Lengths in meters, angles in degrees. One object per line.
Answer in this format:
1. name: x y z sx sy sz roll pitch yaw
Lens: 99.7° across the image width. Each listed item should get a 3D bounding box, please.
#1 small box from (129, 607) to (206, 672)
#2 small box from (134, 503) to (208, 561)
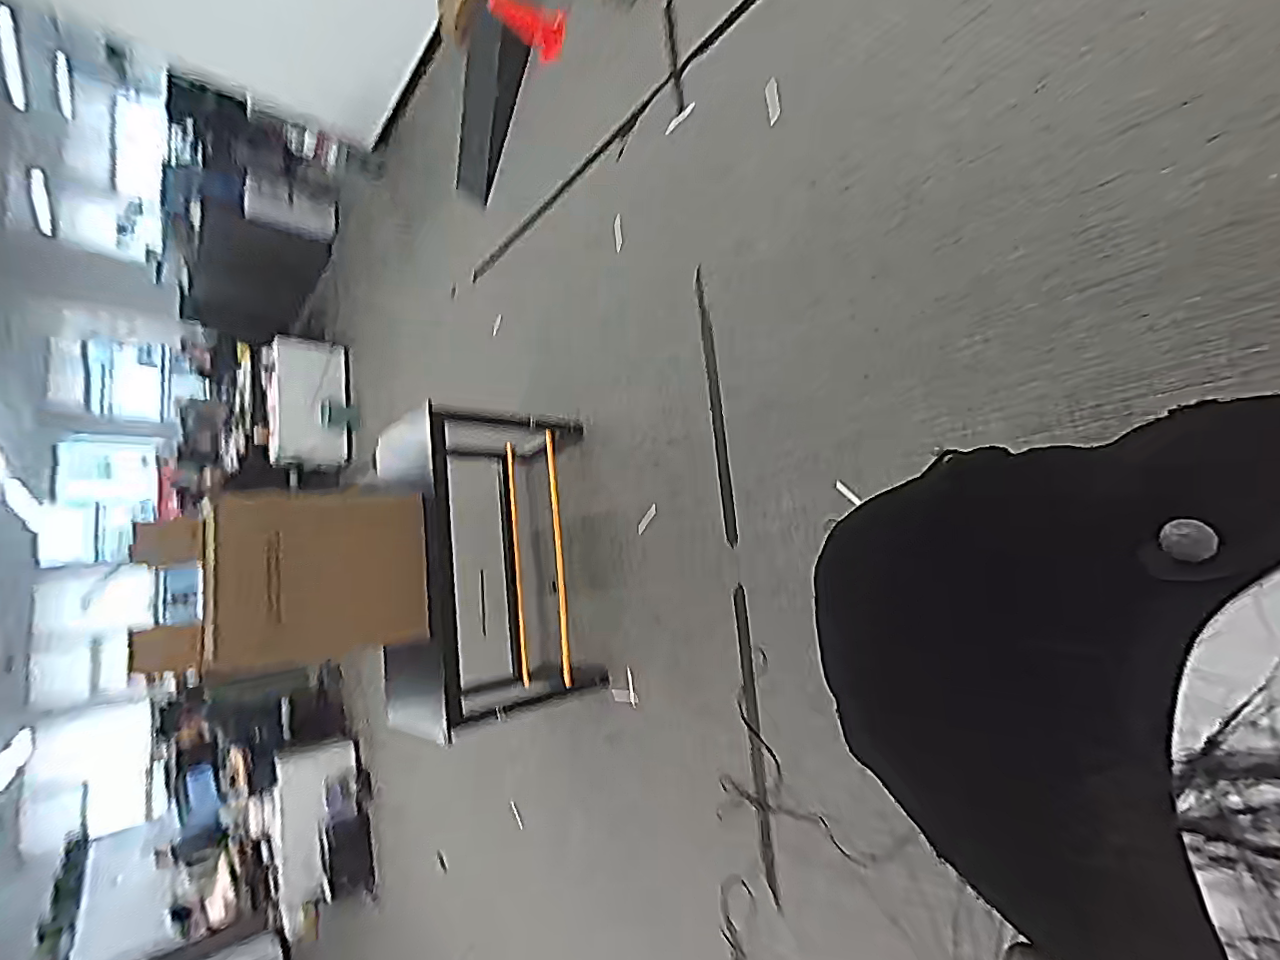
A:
1. small box: -1.441 0.487 1.651 0.179 0.176 0.168 -21 72 45
2. small box: -1.469 0.163 1.695 0.179 0.176 0.168 -12 82 47
